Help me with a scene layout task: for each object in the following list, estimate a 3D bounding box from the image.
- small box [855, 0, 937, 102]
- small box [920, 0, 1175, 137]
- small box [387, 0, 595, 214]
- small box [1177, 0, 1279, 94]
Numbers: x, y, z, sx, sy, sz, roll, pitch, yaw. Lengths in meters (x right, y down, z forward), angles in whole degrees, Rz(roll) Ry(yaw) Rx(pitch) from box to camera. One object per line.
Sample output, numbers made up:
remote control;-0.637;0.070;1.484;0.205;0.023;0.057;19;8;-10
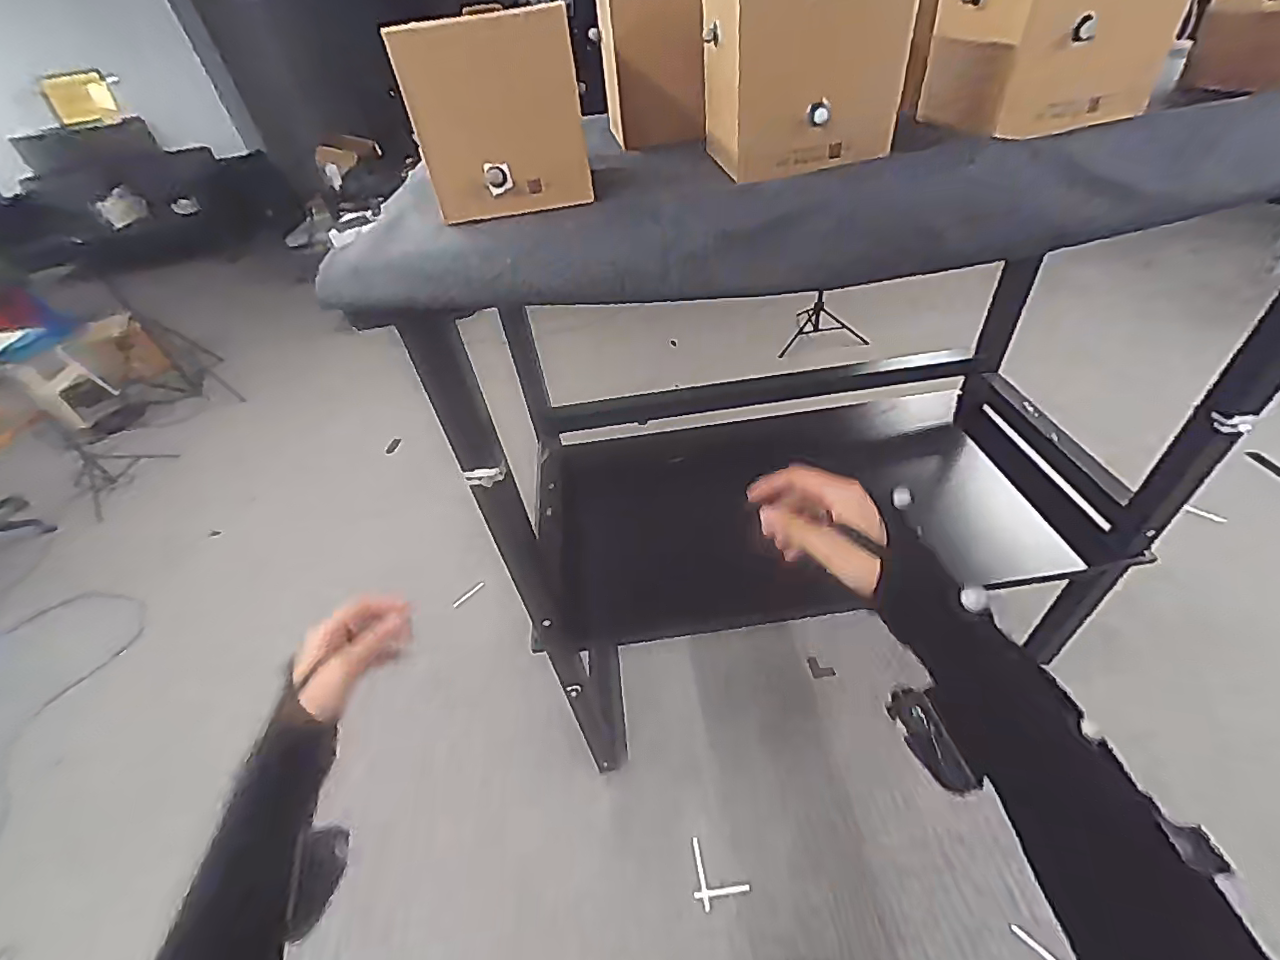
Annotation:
small box;0.433;-0.666;0.786;0.168;0.176;0.179;-9;42;-1
small box;0.443;-0.494;0.598;0.168;0.176;0.179;-9;40;0
small box;-0.148;-0.410;0.597;0.168;0.176;0.179;-11;41;-3
small box;0.757;-0.526;0.576;0.168;0.176;0.179;-7;39;2
